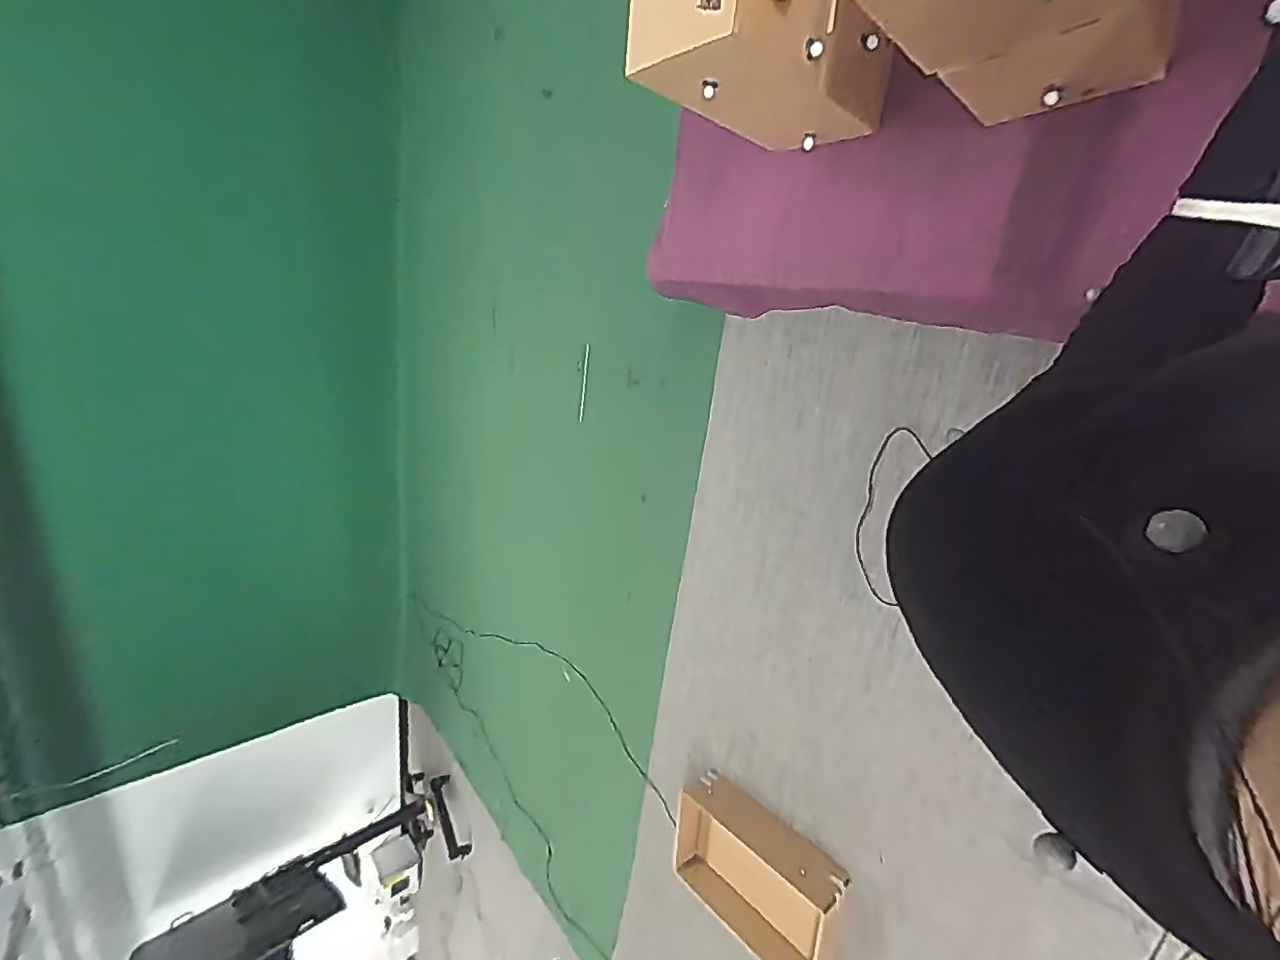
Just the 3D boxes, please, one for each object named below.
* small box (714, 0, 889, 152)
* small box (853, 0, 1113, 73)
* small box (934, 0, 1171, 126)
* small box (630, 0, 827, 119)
[{"bbox_3d":[0.232,-0.589,0.766,0.179,0.176,0.168,22,112,44],"label":"small box"},{"bbox_3d":[0.310,-0.487,0.454,0.179,0.176,0.168,17,109,46],"label":"small box"},{"bbox_3d":[0.433,-0.508,0.560,0.168,0.176,0.179,15,108,46],"label":"small box"},{"bbox_3d":[0.112,-0.569,0.656,0.179,0.176,0.168,22,113,45],"label":"small box"}]
